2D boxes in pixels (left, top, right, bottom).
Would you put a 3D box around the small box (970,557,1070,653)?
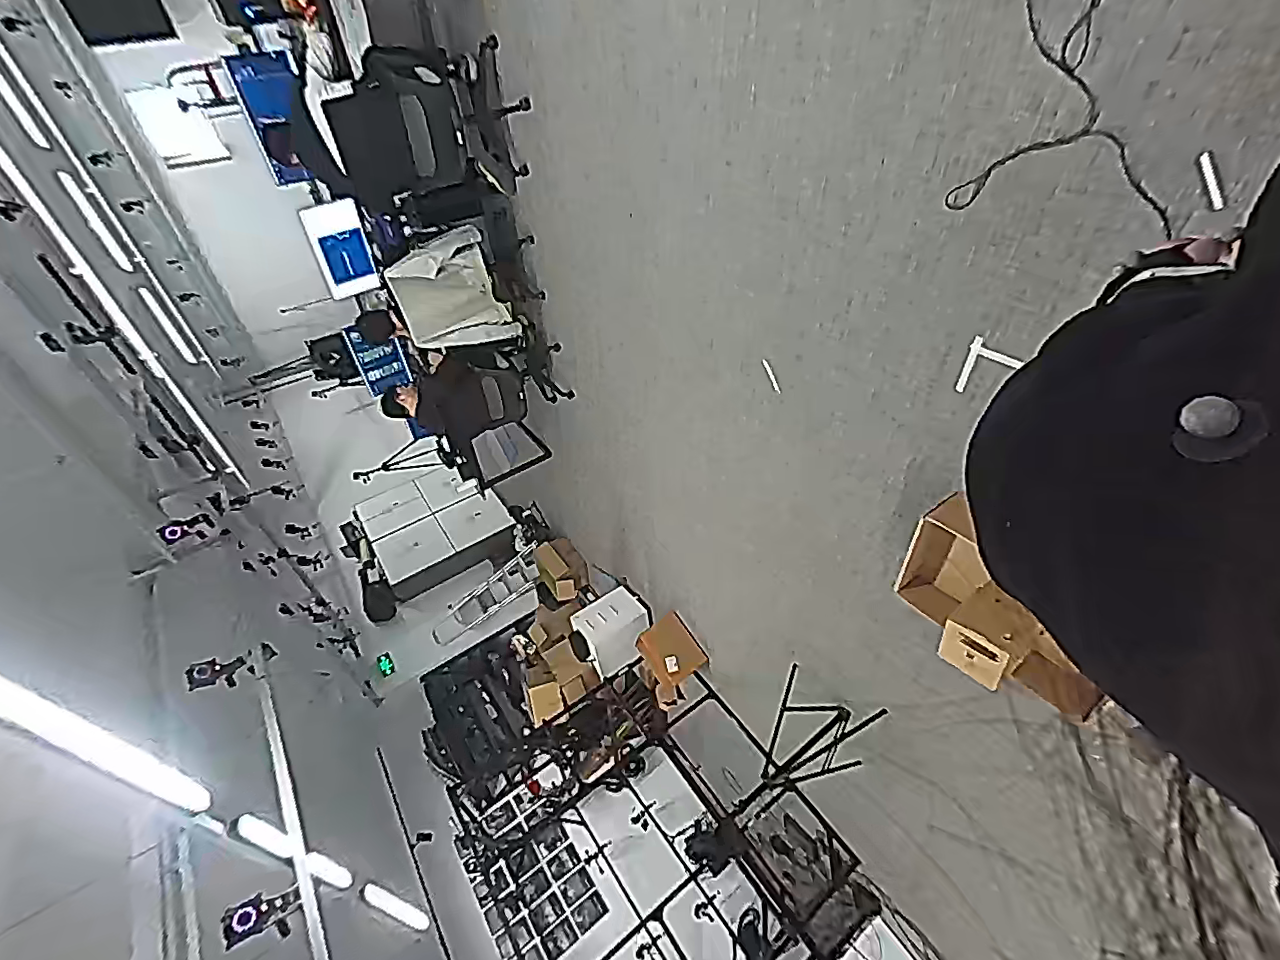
[{"bbox_3d":[1.114,0.362,1.588,0.168,0.176,0.179,36,145,44],"label":"small box"}]
